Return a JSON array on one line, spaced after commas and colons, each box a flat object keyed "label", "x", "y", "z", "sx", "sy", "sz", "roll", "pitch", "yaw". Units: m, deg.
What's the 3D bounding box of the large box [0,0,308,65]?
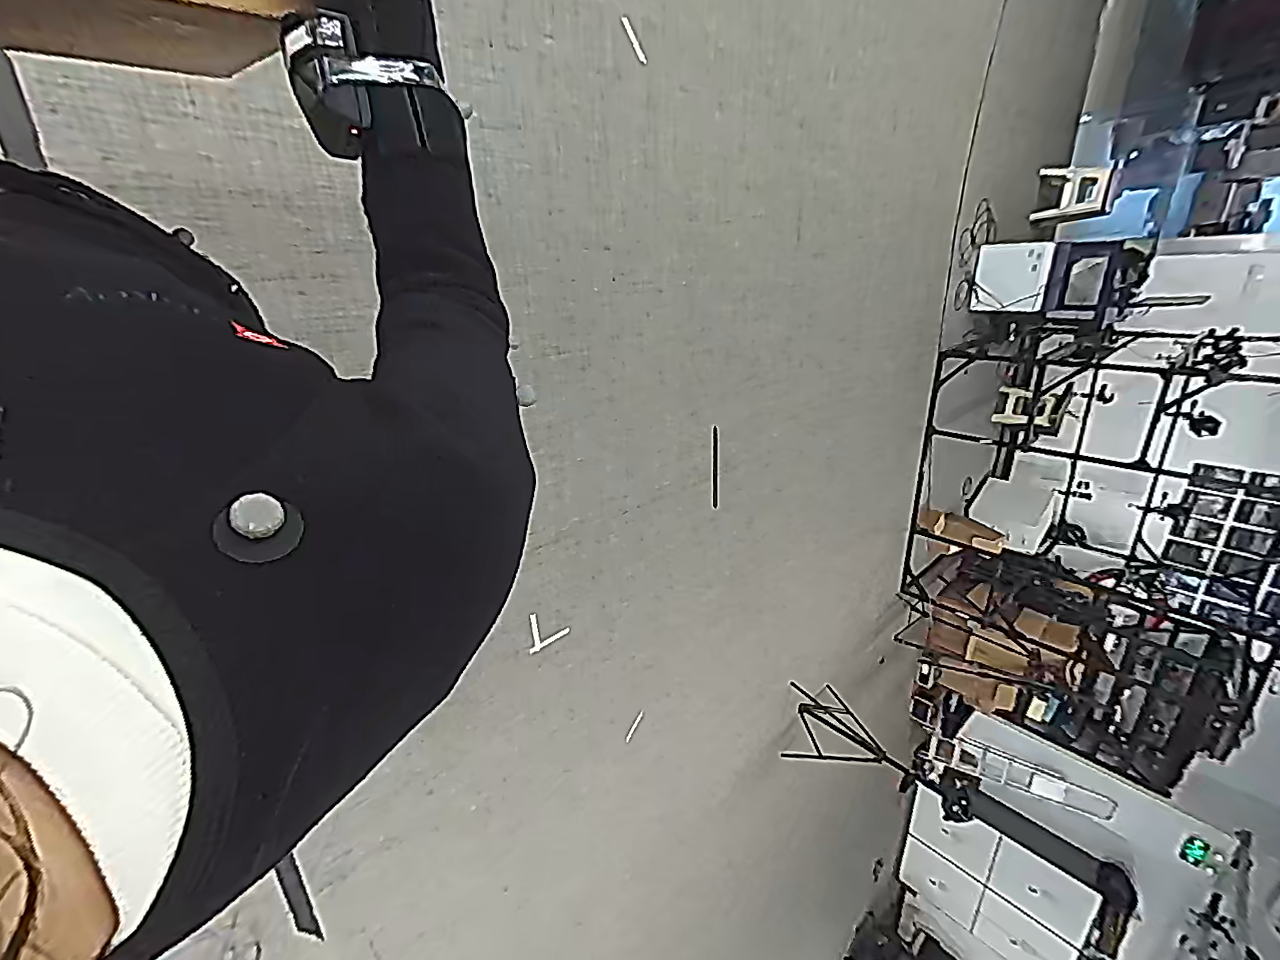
[{"label": "large box", "x": -0.449, "y": -0.419, "z": 0.241, "sx": 0.408, "sy": 0.320, "sz": 0.320, "roll": -22, "pitch": 128, "yaw": -38}]
